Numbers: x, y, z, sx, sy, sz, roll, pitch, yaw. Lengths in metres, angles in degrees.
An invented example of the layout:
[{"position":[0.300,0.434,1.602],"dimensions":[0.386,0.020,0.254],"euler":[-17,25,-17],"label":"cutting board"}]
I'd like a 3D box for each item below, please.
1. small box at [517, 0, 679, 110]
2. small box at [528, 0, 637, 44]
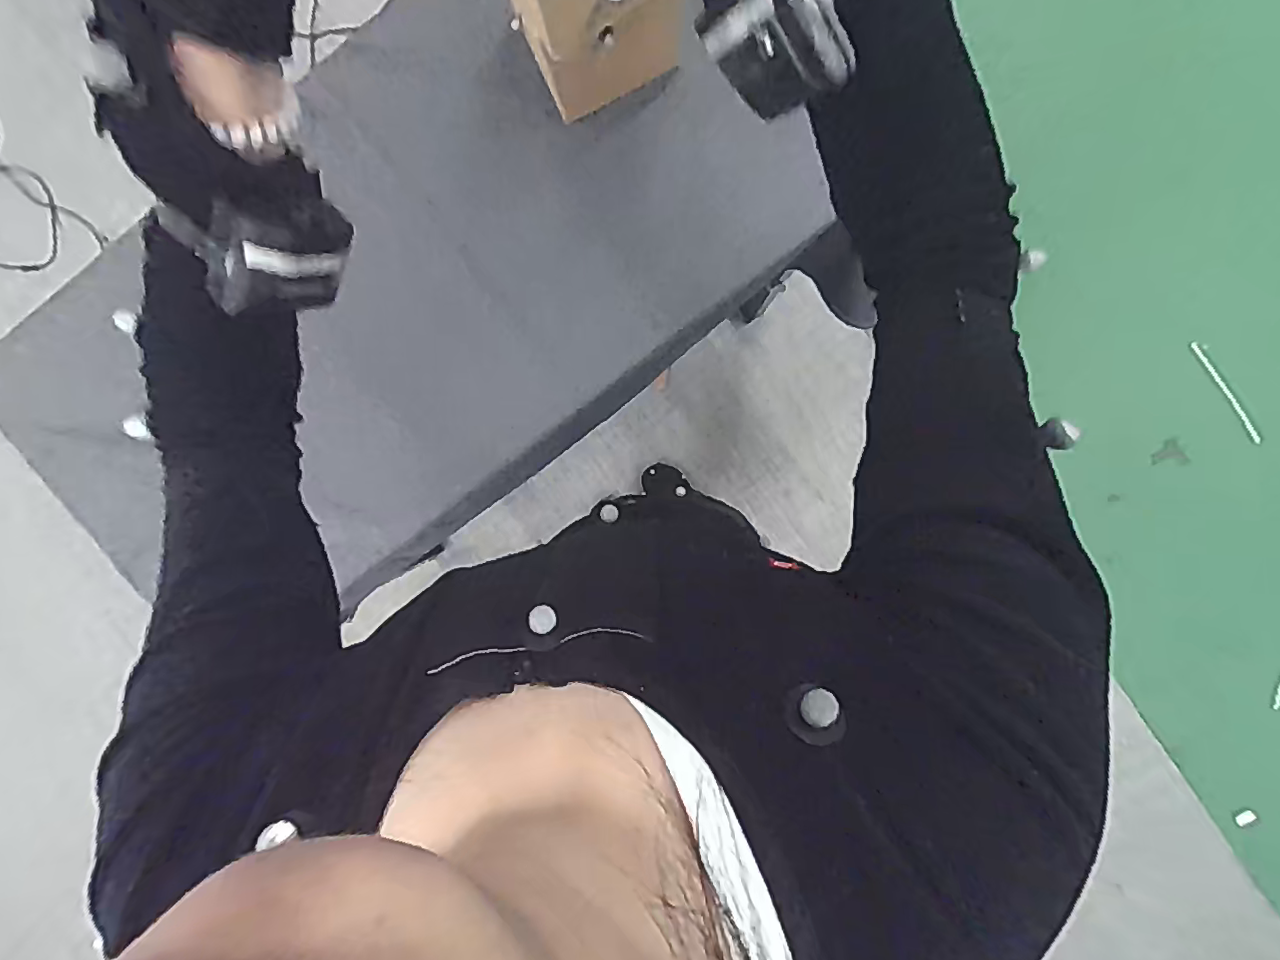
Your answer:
[{"position":[-0.059,-0.593,0.642],"dimensions":[0.179,0.176,0.168],"euler":[-24,94,5],"label":"small box"},{"position":[-0.066,-0.559,0.481],"dimensions":[0.168,0.176,0.179],"euler":[-31,94,6],"label":"small box"}]
